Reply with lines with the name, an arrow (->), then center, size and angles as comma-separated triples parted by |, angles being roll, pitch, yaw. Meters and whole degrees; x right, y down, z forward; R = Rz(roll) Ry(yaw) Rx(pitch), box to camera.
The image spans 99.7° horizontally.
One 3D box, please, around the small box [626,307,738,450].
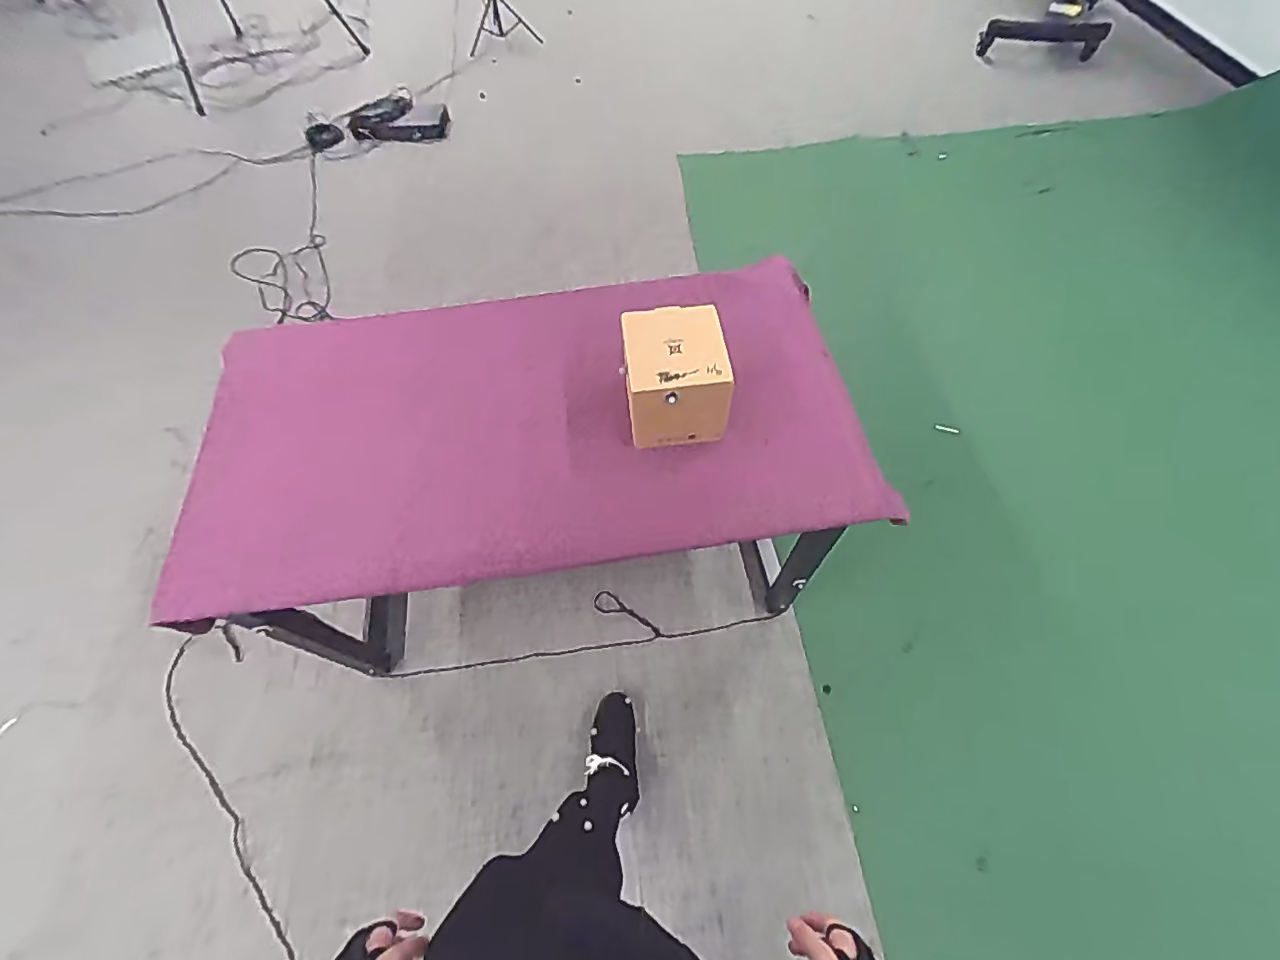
small box -> 0.065, -0.174, 0.947 | 0.168, 0.176, 0.179 | -6, 60, -1
